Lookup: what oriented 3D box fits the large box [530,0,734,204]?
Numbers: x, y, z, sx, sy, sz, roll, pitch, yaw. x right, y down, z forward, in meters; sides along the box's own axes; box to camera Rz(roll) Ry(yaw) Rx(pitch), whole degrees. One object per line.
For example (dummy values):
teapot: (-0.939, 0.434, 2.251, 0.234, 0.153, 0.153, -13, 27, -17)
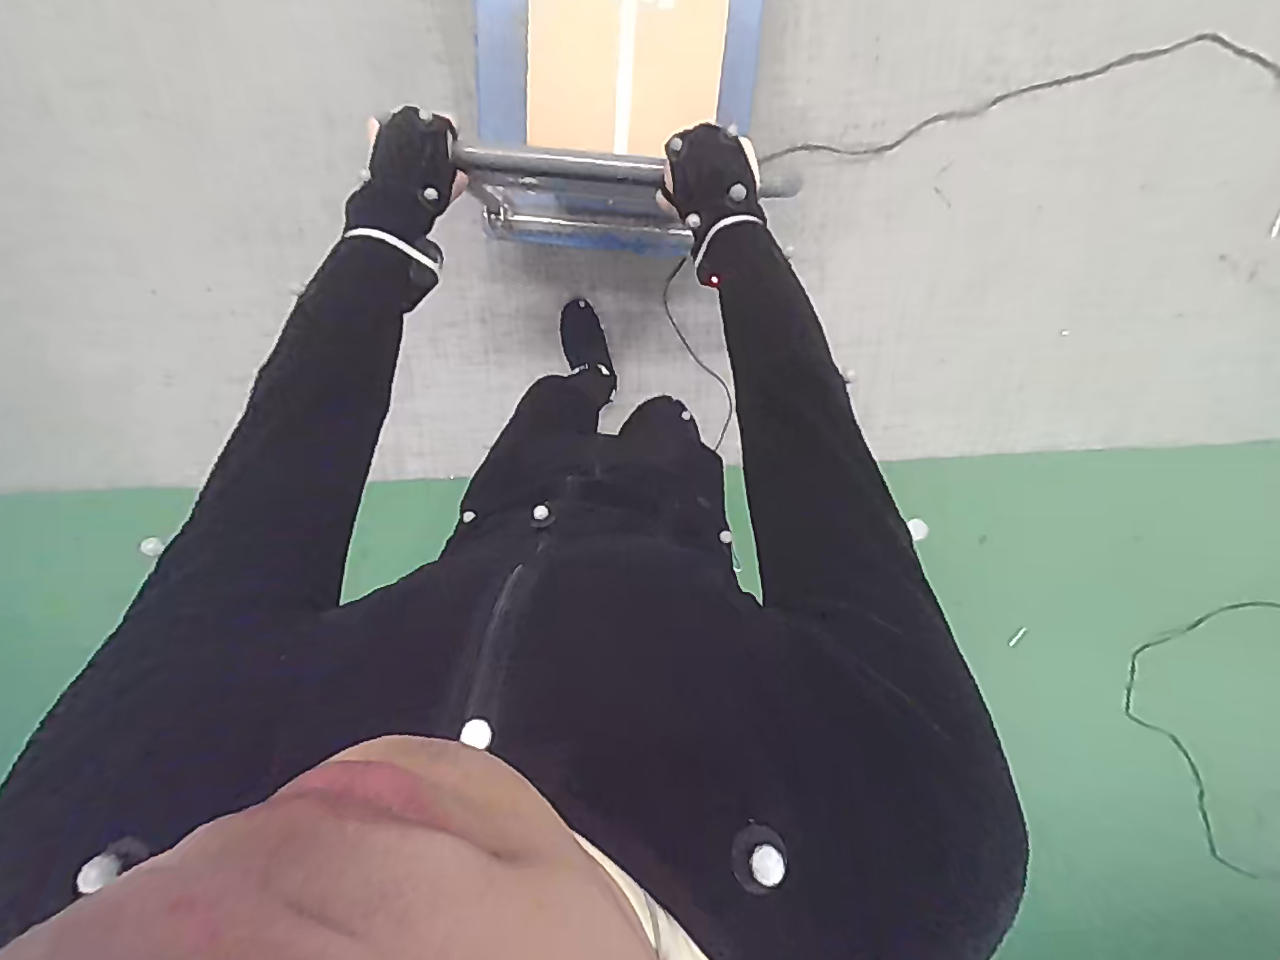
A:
large box: (-0.014, -0.752, 0.982, 0.320, 0.320, 0.408, 5, 110, -3)
